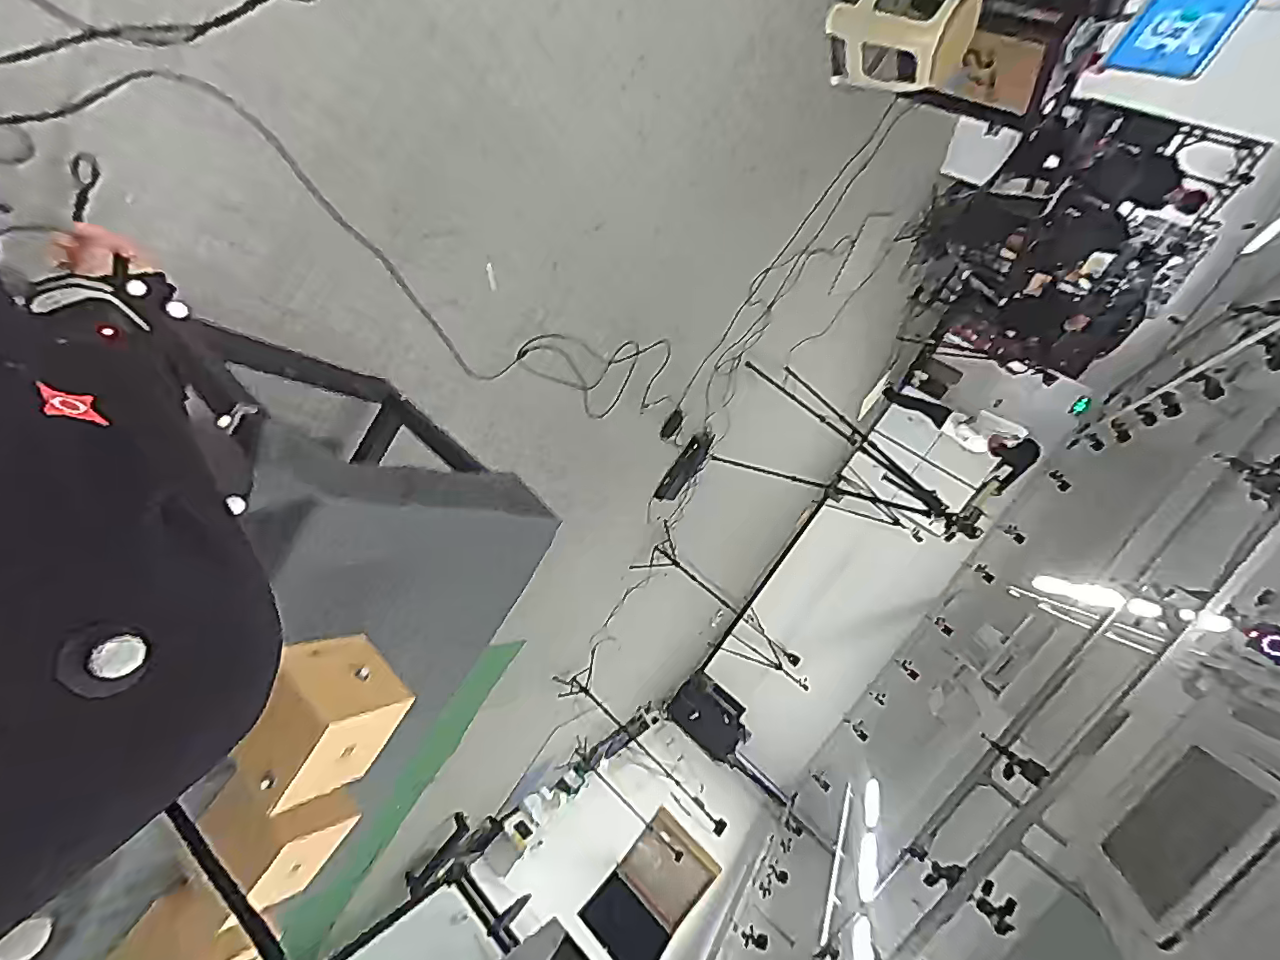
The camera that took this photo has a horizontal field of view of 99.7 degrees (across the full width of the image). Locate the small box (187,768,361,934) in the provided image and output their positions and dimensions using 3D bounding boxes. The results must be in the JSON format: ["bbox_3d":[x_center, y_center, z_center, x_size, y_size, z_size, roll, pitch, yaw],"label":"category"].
[{"bbox_3d":[-0.651,0.628,0.961,0.179,0.176,0.168,-53,157,-2],"label":"small box"}]

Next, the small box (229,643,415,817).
[{"bbox_3d":[-0.513,0.382,0.871,0.179,0.176,0.168,-55,157,7],"label":"small box"}]
